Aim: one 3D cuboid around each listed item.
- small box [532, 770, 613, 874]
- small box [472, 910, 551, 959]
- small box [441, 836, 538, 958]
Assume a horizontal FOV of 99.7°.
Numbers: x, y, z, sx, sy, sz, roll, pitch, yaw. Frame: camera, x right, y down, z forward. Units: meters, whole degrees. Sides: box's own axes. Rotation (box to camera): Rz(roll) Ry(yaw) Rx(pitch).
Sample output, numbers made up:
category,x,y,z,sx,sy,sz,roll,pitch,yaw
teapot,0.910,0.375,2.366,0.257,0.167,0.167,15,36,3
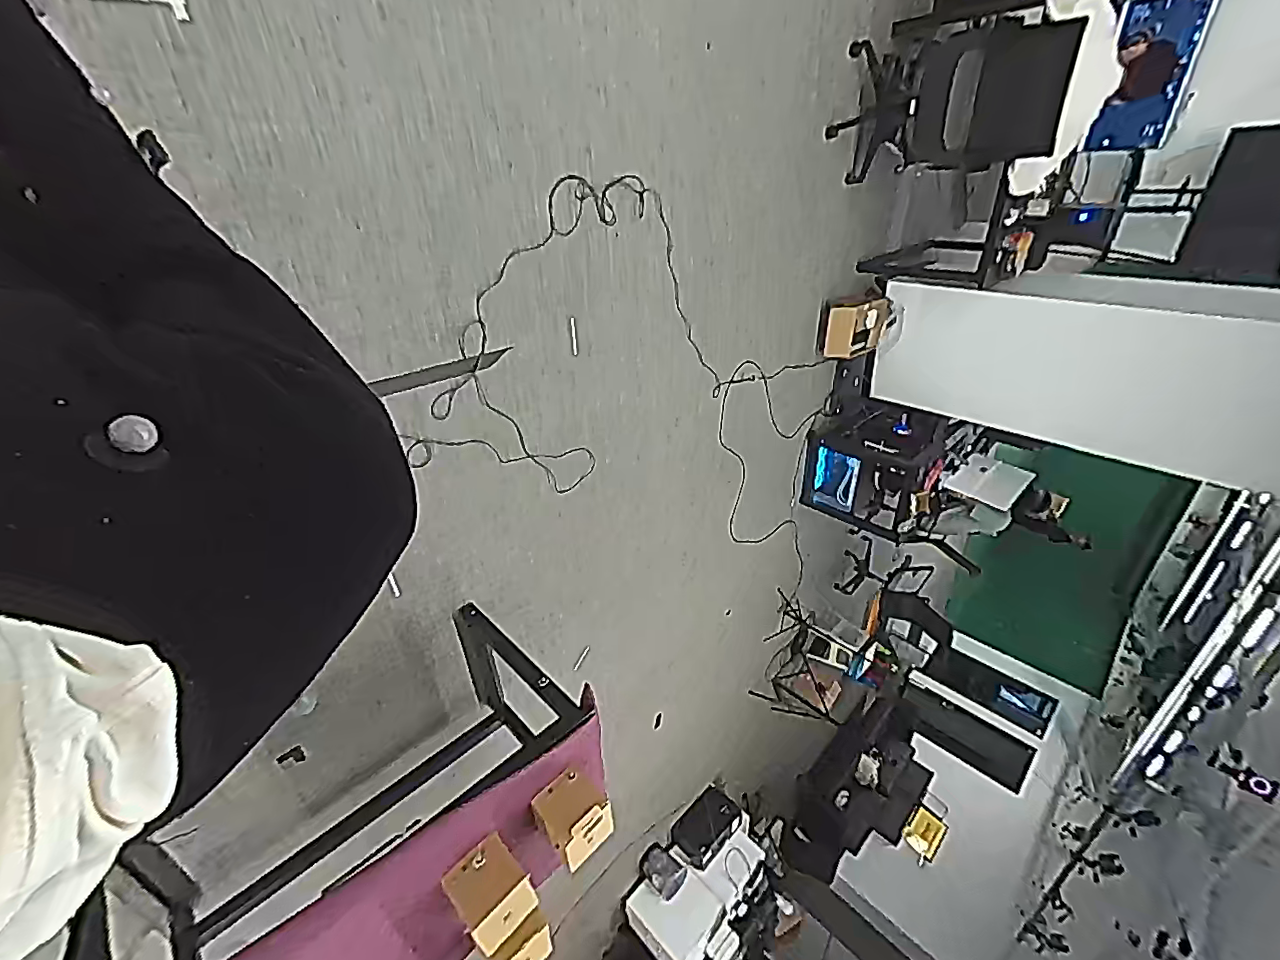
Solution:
category,x,y,z,sx,sy,sz,roll,pitch,yaw
small box,-0.202,1.000,1.601,0.168,0.176,0.179,-29,131,-35
small box,-0.381,1.344,1.586,0.168,0.176,0.179,-25,126,-37
small box,-0.400,1.102,1.441,0.168,0.176,0.179,-33,132,-34
